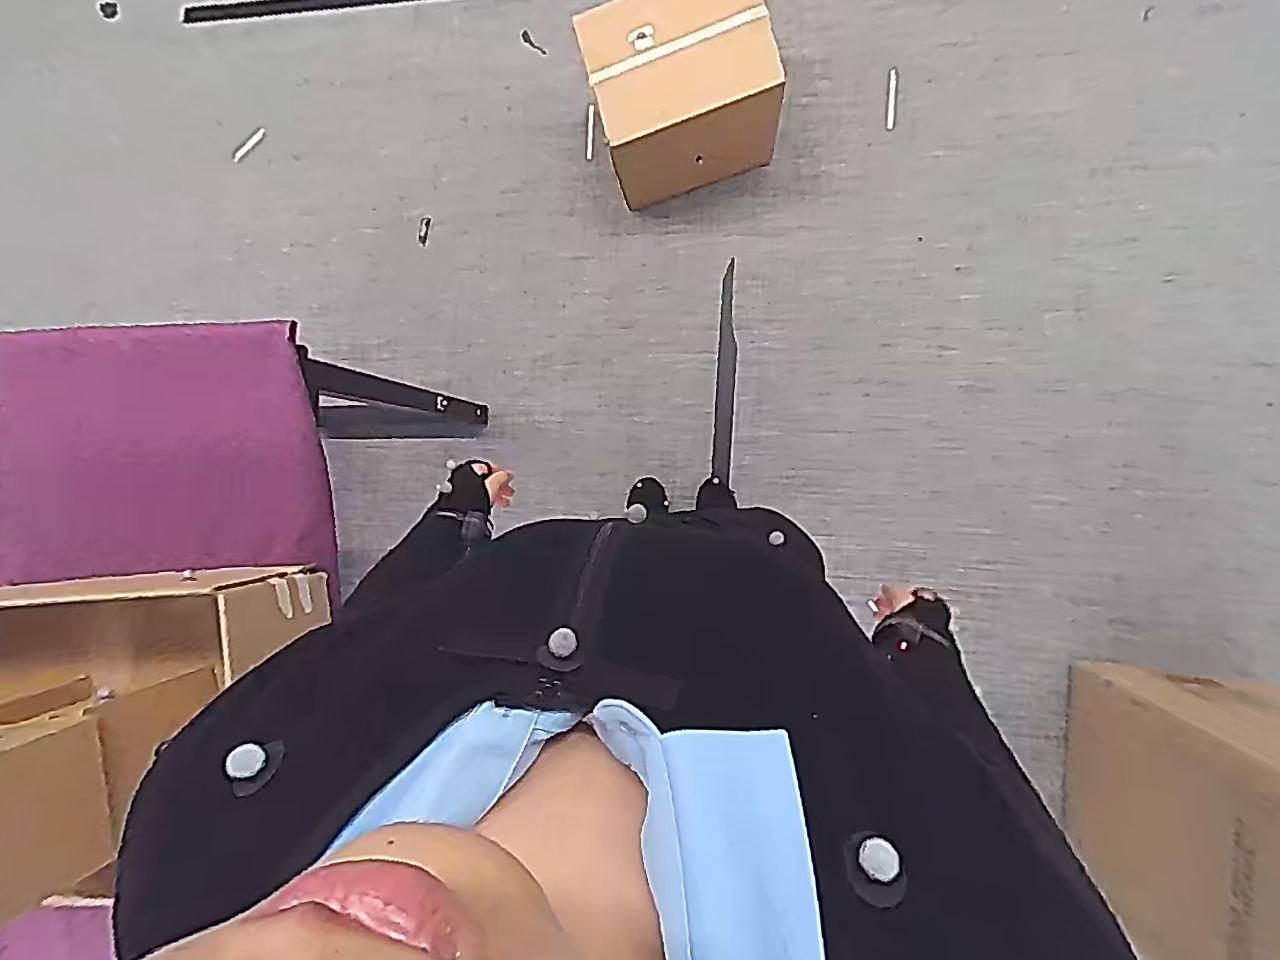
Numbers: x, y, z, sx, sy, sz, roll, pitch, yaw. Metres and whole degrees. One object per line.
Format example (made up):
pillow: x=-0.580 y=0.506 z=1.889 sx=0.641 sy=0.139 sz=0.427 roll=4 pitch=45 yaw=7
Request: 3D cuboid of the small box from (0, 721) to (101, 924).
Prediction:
small box: x=-0.735 y=0.385 z=0.578 sx=0.168 sy=0.176 sz=0.179 roll=-10 pitch=88 yaw=10

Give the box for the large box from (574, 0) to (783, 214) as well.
large box: x=0.102 y=-0.932 z=1.332 sx=0.408 sy=0.320 sz=0.320 roll=-17 pitch=88 yaw=9
